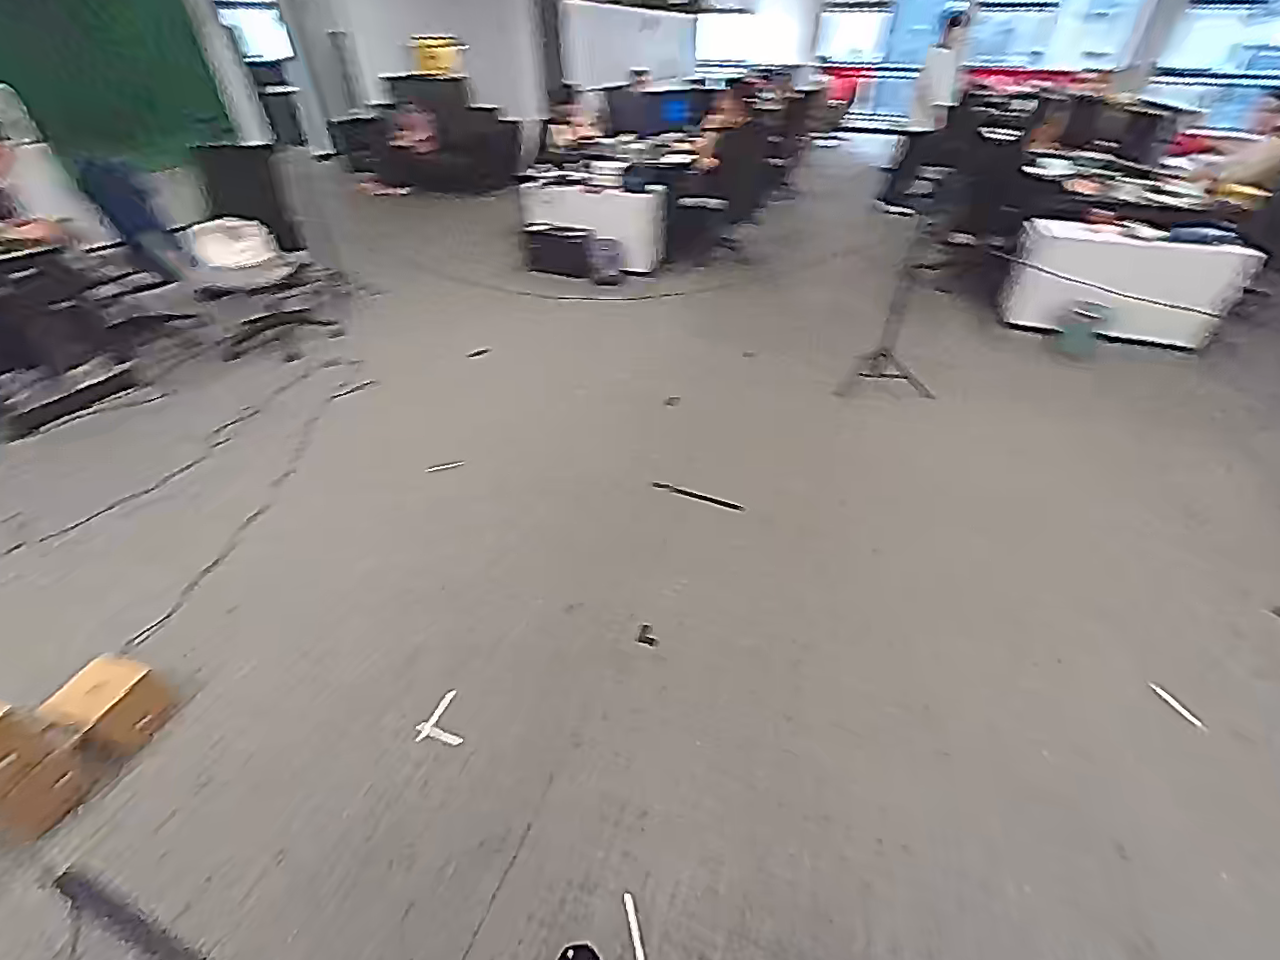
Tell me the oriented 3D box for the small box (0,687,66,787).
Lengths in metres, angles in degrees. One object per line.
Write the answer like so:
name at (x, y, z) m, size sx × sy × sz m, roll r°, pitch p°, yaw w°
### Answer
small box at (-1.516, 0.592, 1.248) m, size 0.179 × 0.176 × 0.168 m, roll 10°, pitch 40°, yaw 10°

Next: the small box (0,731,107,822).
small box at (-1.512, 0.721, 1.350) m, size 0.179 × 0.176 × 0.168 m, roll 12°, pitch 40°, yaw 14°

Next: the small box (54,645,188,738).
small box at (-1.435, 0.592, 1.507) m, size 0.179 × 0.176 × 0.168 m, roll 10°, pitch 41°, yaw 10°
